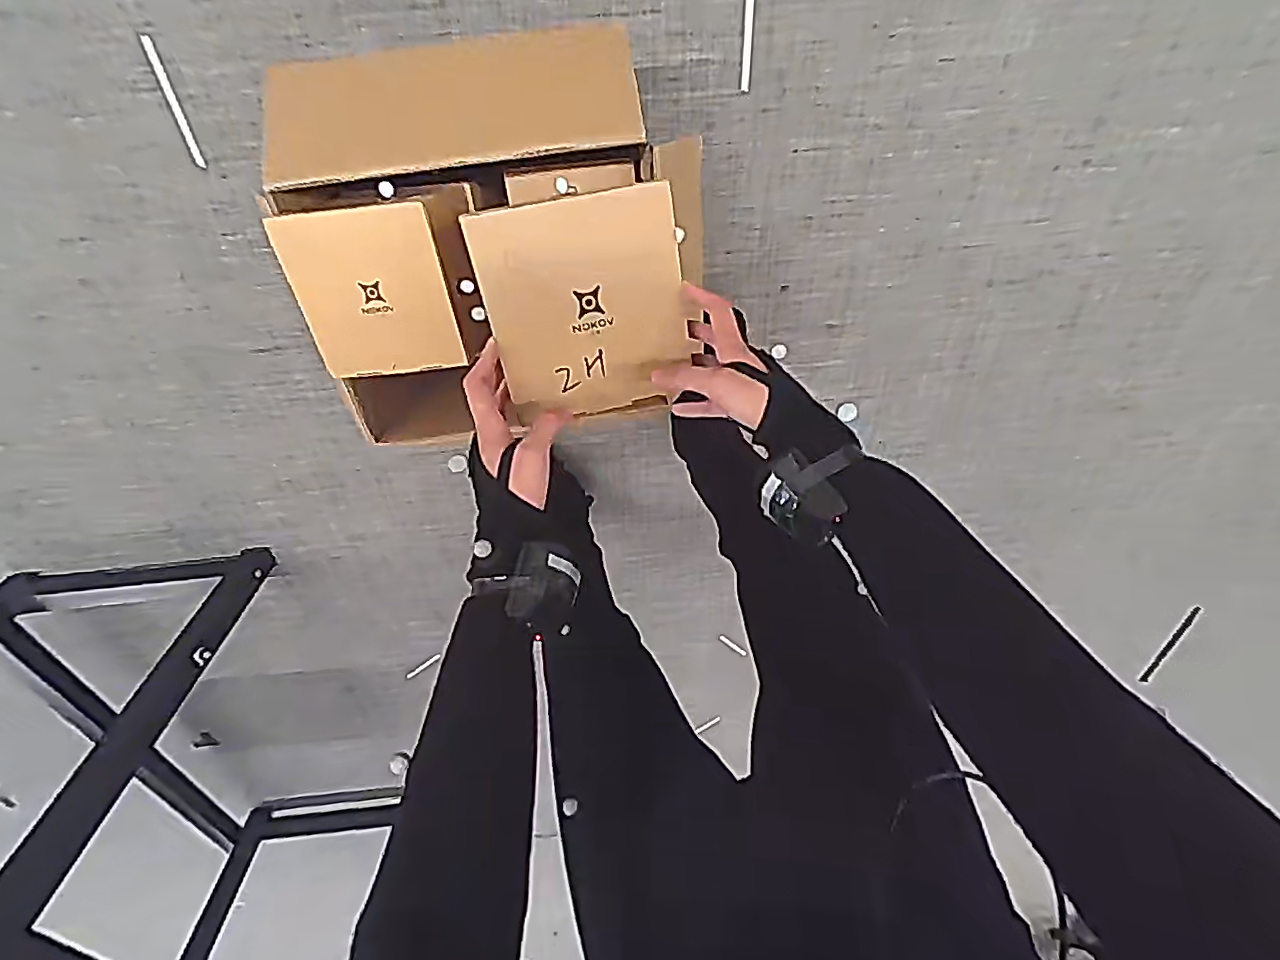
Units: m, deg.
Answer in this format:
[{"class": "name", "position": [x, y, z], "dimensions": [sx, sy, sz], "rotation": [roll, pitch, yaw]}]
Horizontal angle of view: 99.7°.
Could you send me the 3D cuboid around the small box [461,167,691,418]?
[{"class": "small box", "position": [-0.060, -0.182, 0.515], "dimensions": [0.168, 0.176, 0.179], "rotation": [-13, 119, -6]}]
